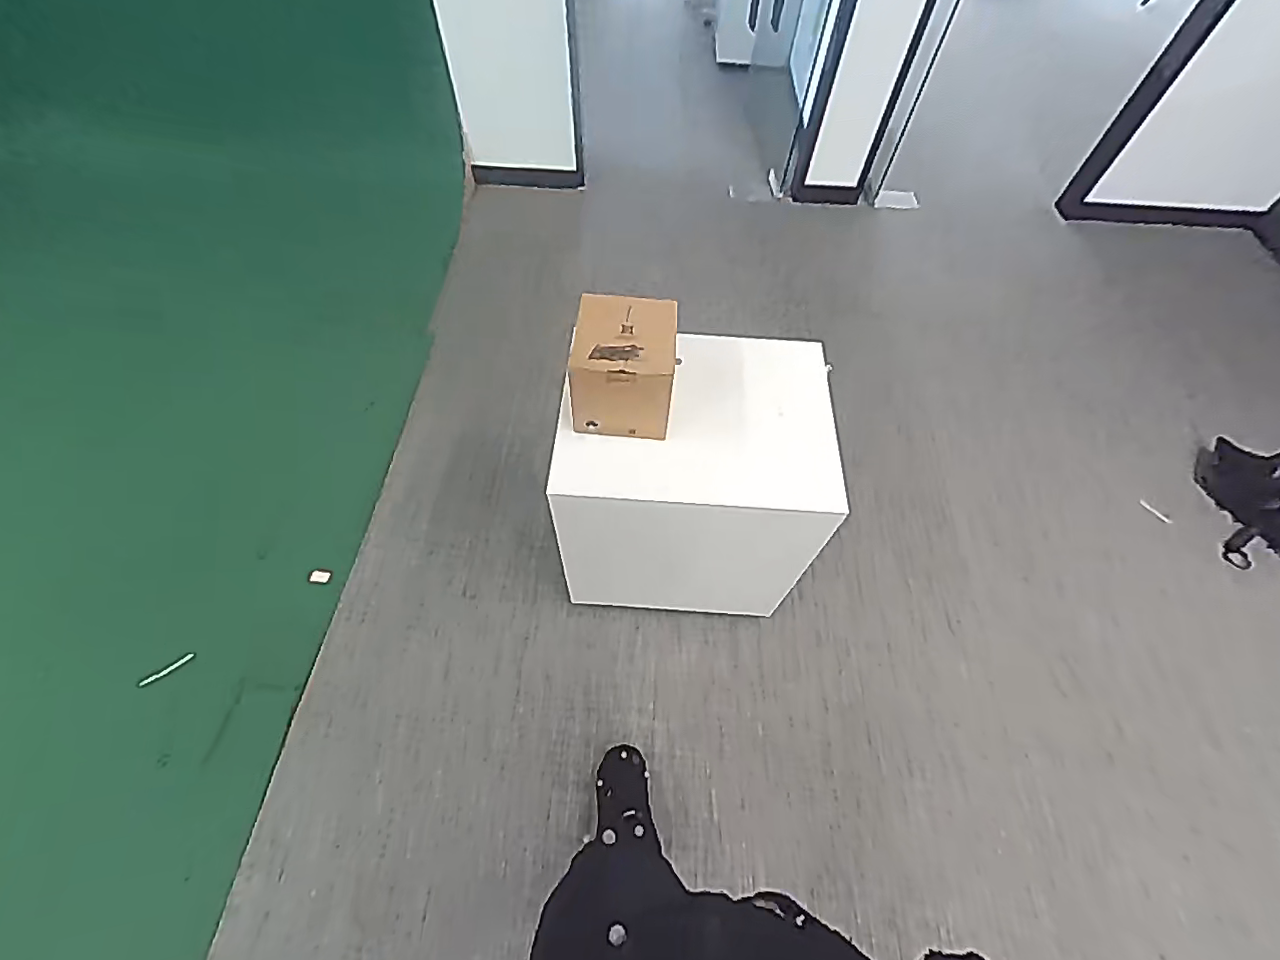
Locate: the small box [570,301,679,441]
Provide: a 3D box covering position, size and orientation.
[{"bbox_3d":[-0.024,-0.186,0.948,0.168,0.176,0.179,5,58,0],"label":"small box"}]
